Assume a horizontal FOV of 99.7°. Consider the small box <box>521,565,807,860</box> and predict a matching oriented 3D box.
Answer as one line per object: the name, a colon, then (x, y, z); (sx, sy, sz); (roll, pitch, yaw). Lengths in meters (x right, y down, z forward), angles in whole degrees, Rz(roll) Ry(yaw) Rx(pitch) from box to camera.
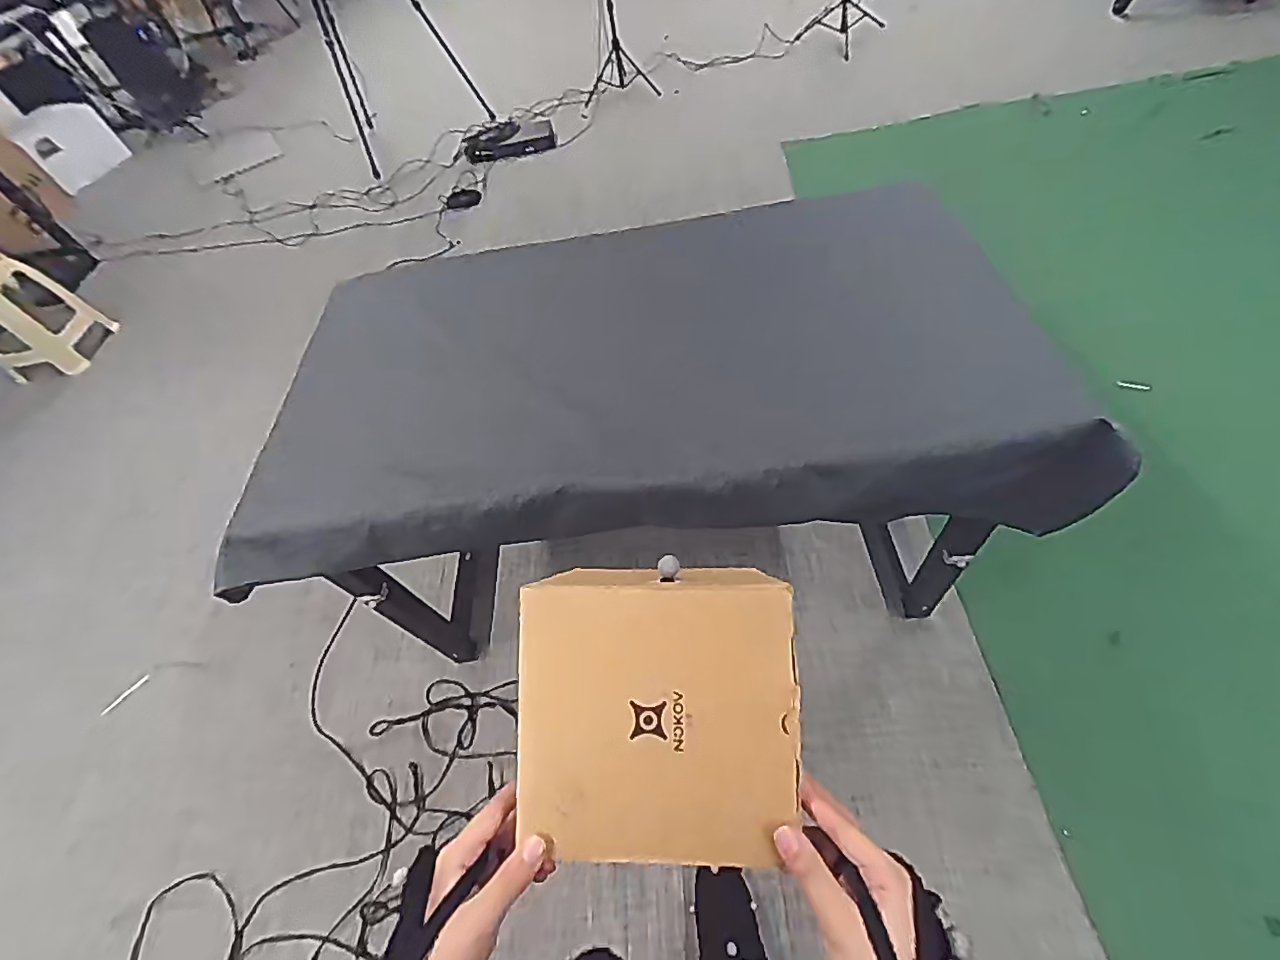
small box: (0.019, 0.153, 0.414); (0.179, 0.176, 0.168); (-1, 84, 3)
